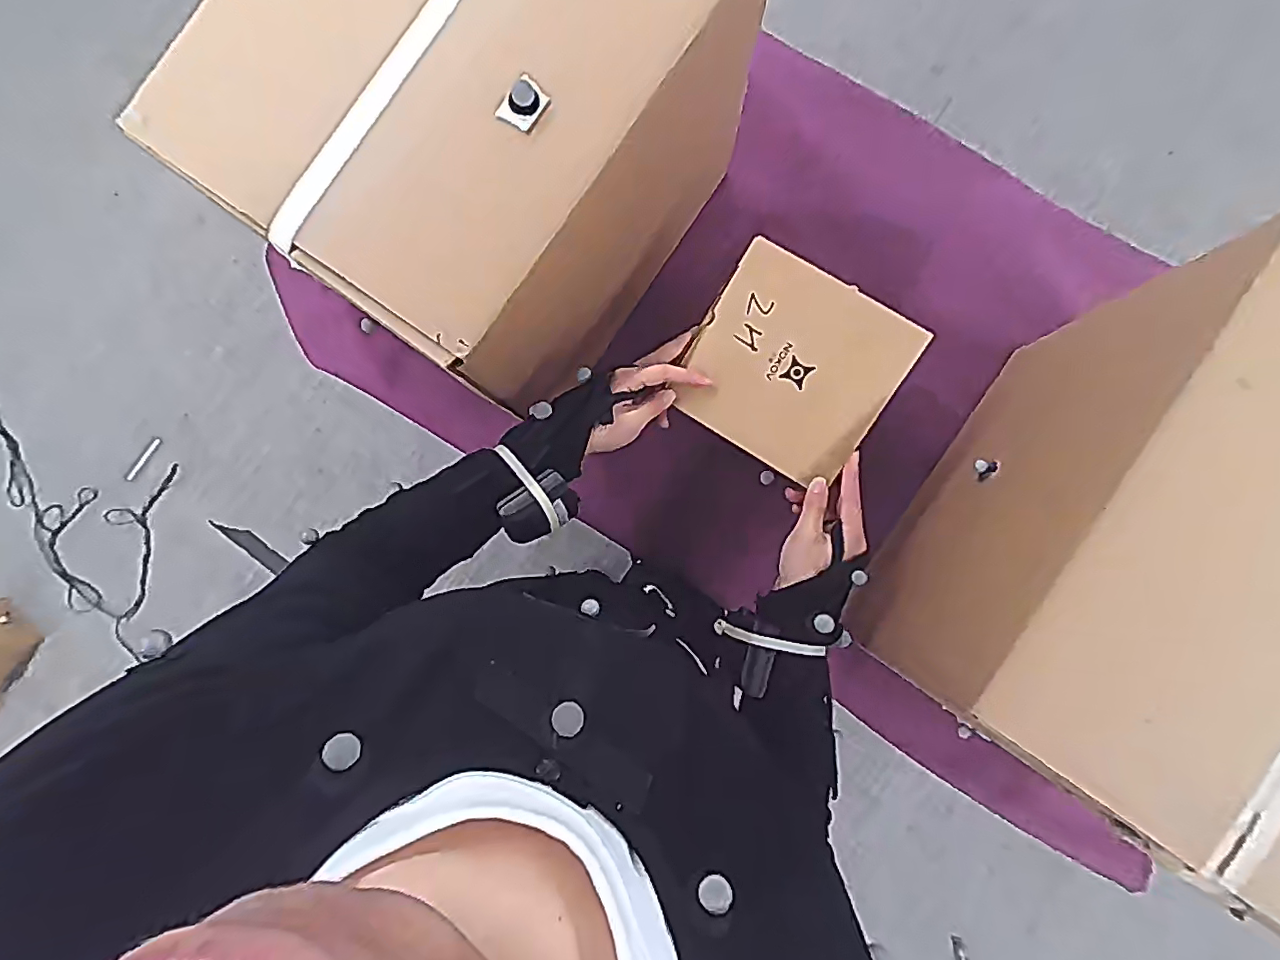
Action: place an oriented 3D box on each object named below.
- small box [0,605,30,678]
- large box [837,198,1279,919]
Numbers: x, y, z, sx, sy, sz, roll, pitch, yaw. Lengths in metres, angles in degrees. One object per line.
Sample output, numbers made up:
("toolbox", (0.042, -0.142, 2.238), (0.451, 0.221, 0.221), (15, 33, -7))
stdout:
("small box", (-1.742, 0.437, 1.372), (0.168, 0.176, 0.179), (41, 89, 5))
("large box", (0.446, 0.075, 0.474), (0.320, 0.320, 0.408), (34, 87, 5))
